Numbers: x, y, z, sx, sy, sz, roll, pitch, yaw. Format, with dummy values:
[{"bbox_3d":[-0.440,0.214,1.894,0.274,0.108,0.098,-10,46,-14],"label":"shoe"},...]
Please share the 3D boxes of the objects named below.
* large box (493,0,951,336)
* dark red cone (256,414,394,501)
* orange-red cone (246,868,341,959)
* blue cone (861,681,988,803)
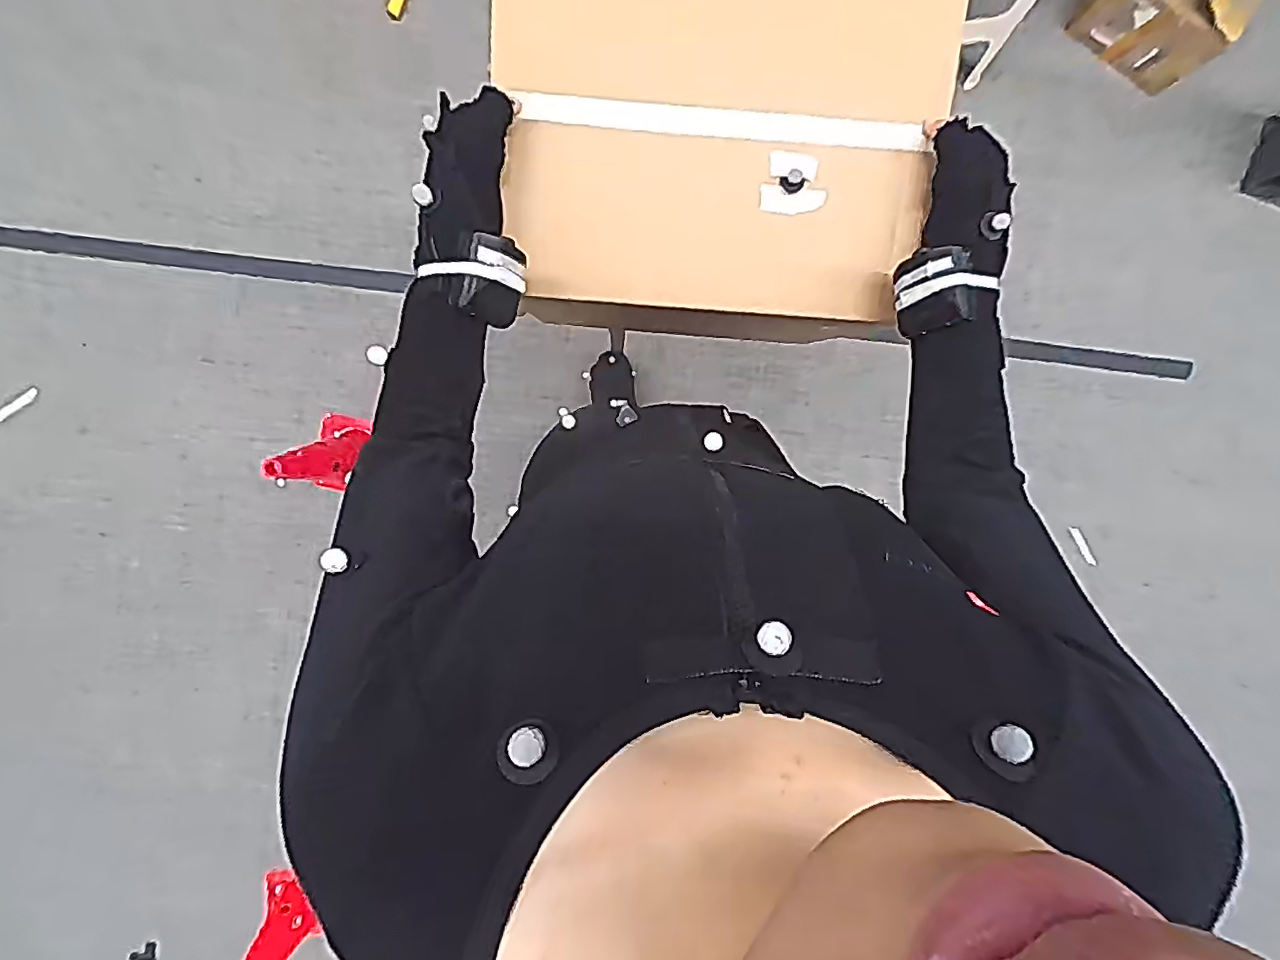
[{"bbox_3d":[0.061,-0.347,0.629,0.408,0.320,0.320,3,101,-3],"label":"large box"},{"bbox_3d":[-0.736,-0.042,1.234,0.201,0.394,0.202,12,95,-5],"label":"dark red cone"},{"bbox_3d":[-0.955,1.232,1.381,0.198,0.360,0.199,4,97,-2],"label":"orange-red cone"},{"bbox_3d":[0.752,0.696,1.408,0.192,0.380,0.193,9,96,-4],"label":"blue cone"}]
